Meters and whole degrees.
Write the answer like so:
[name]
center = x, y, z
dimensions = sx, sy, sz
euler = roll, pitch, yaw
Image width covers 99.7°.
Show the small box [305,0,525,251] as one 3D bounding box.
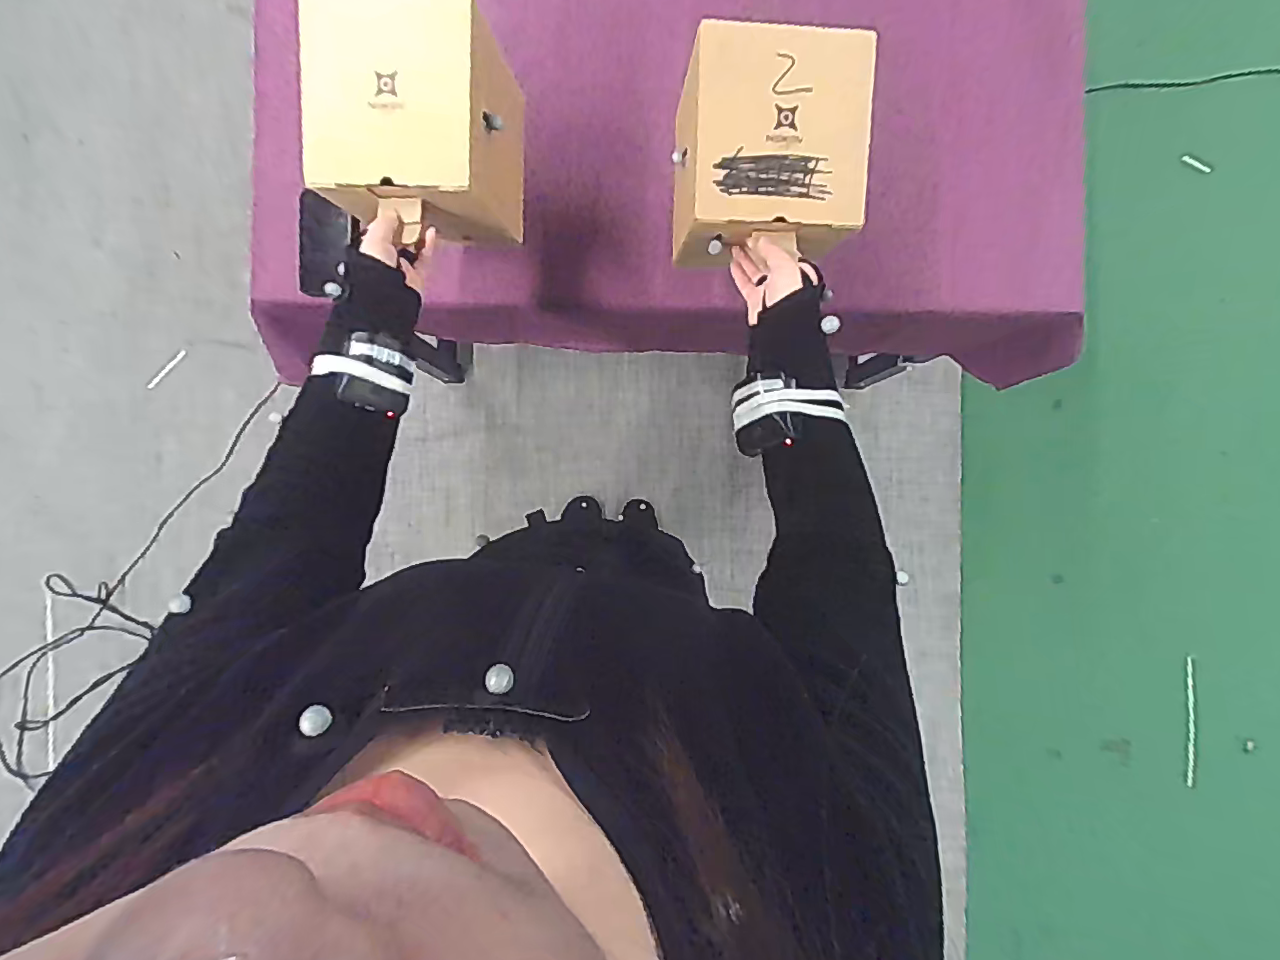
[small box]
center = -0.226, -0.365, 0.580
dimensions = 0.168, 0.176, 0.179
euler = 4, 98, 3
